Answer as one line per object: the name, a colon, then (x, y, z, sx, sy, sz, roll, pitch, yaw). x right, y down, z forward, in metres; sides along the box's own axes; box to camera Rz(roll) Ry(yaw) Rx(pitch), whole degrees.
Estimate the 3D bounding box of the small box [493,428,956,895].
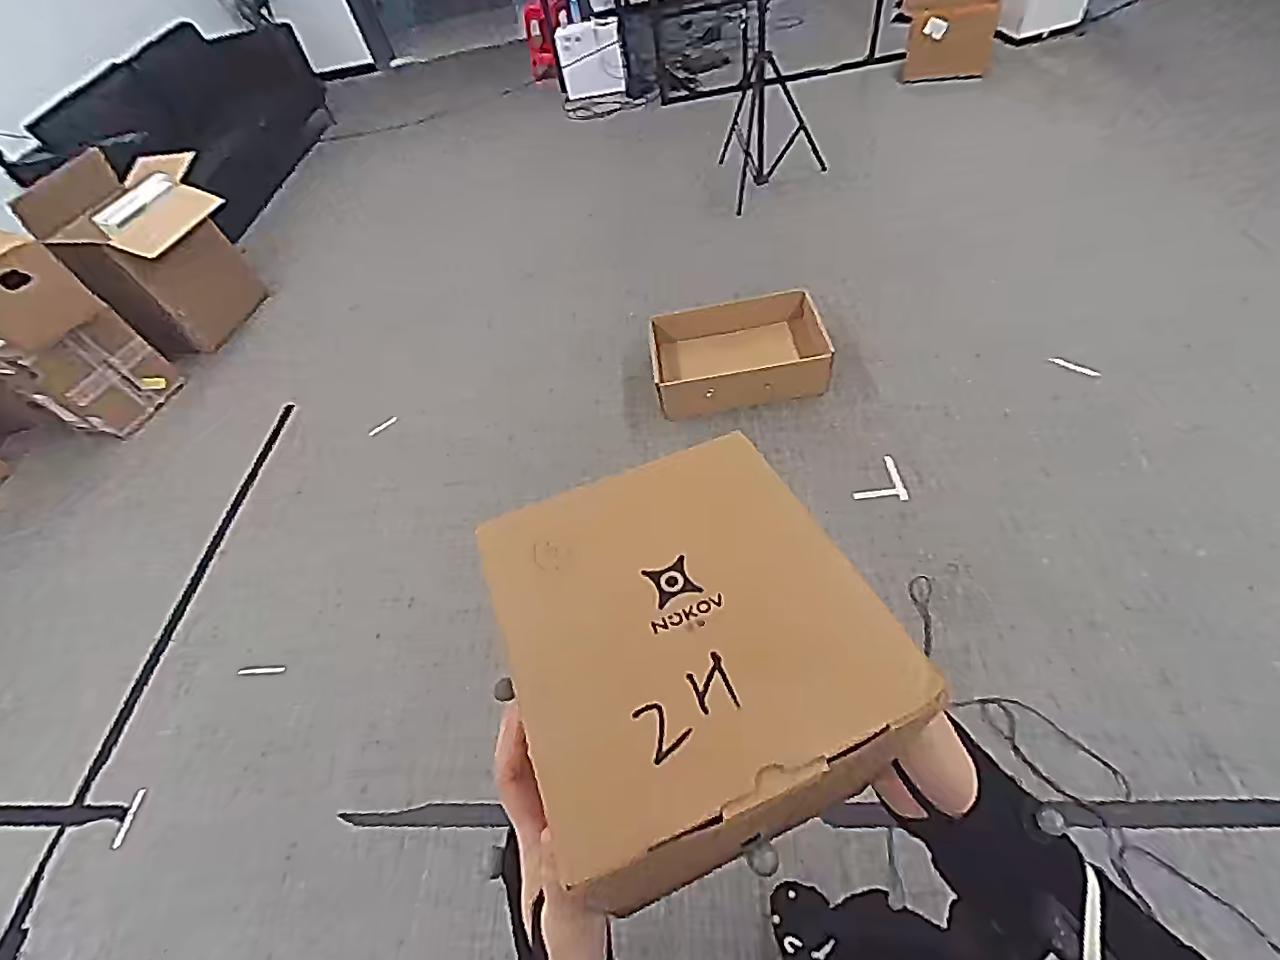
small box: (0.029, 0.104, 0.317, 0.168, 0.176, 0.179, -19, 50, -11)
